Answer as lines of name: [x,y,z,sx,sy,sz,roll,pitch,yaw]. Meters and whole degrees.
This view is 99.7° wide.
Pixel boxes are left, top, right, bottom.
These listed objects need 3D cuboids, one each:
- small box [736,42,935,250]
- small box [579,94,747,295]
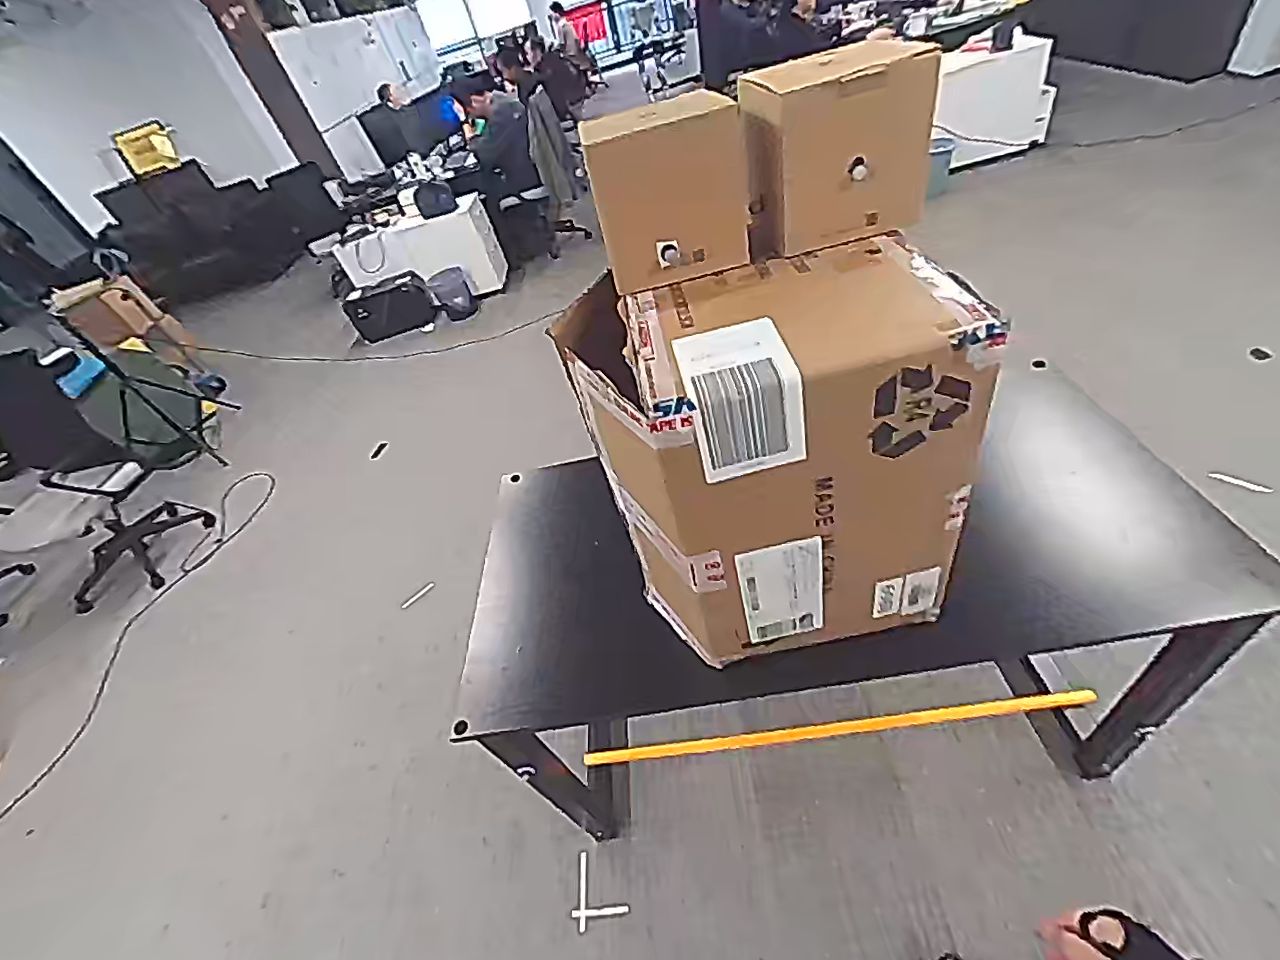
small box: [0.221,-0.395,0.651,0.168,0.176,0.179,-13,42,2]
small box: [0.027,-0.353,0.671,0.168,0.176,0.179,-15,41,3]
